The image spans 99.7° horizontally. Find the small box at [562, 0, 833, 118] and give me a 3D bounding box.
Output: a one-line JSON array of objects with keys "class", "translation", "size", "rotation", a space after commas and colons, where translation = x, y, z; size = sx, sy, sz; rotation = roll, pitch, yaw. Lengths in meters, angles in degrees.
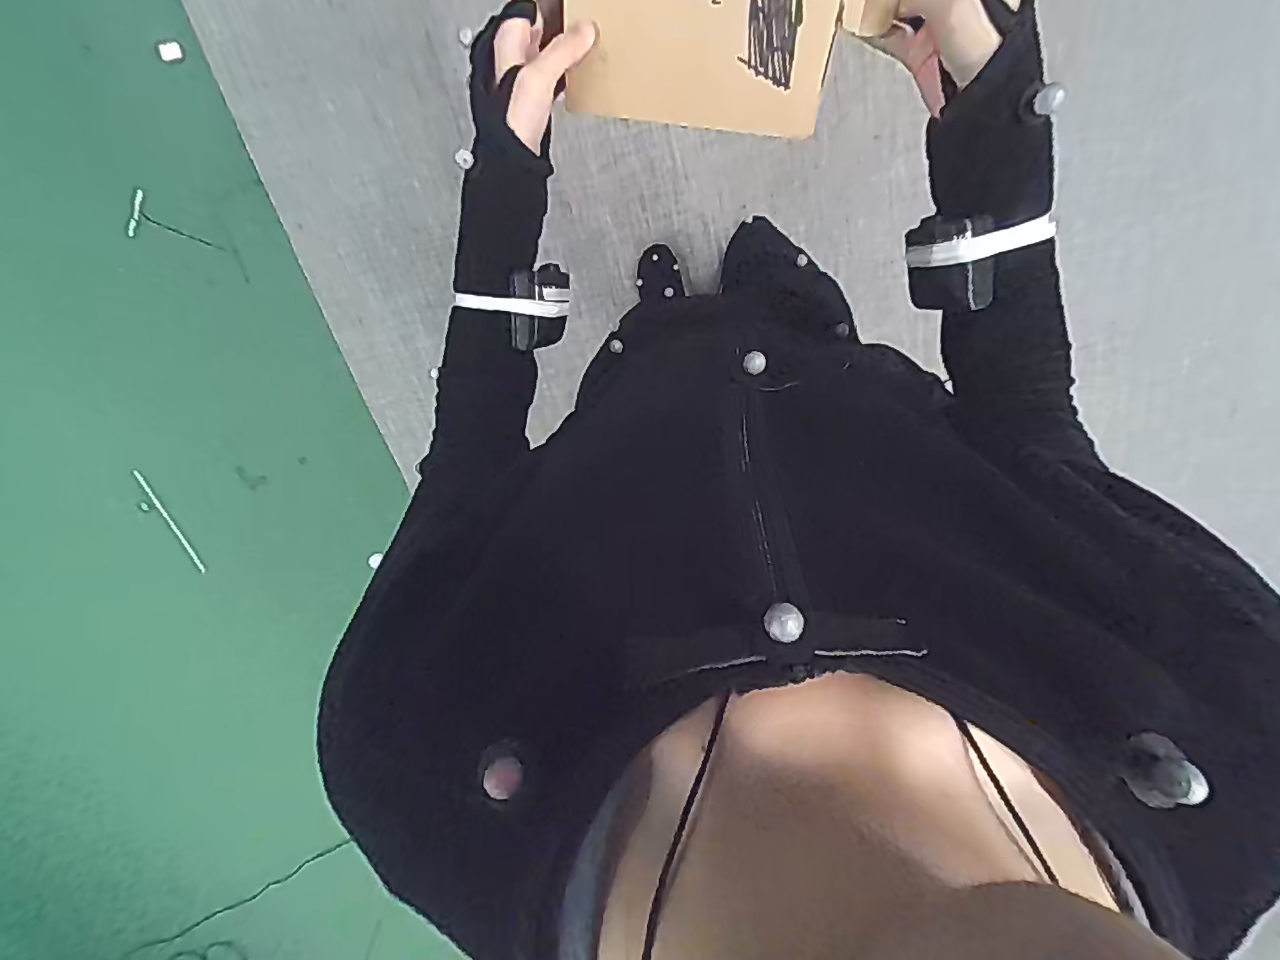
[{"class": "small box", "translation": [0.049, -0.379, 0.384], "size": [0.179, 0.176, 0.168], "rotation": [10, 134, 5]}]
